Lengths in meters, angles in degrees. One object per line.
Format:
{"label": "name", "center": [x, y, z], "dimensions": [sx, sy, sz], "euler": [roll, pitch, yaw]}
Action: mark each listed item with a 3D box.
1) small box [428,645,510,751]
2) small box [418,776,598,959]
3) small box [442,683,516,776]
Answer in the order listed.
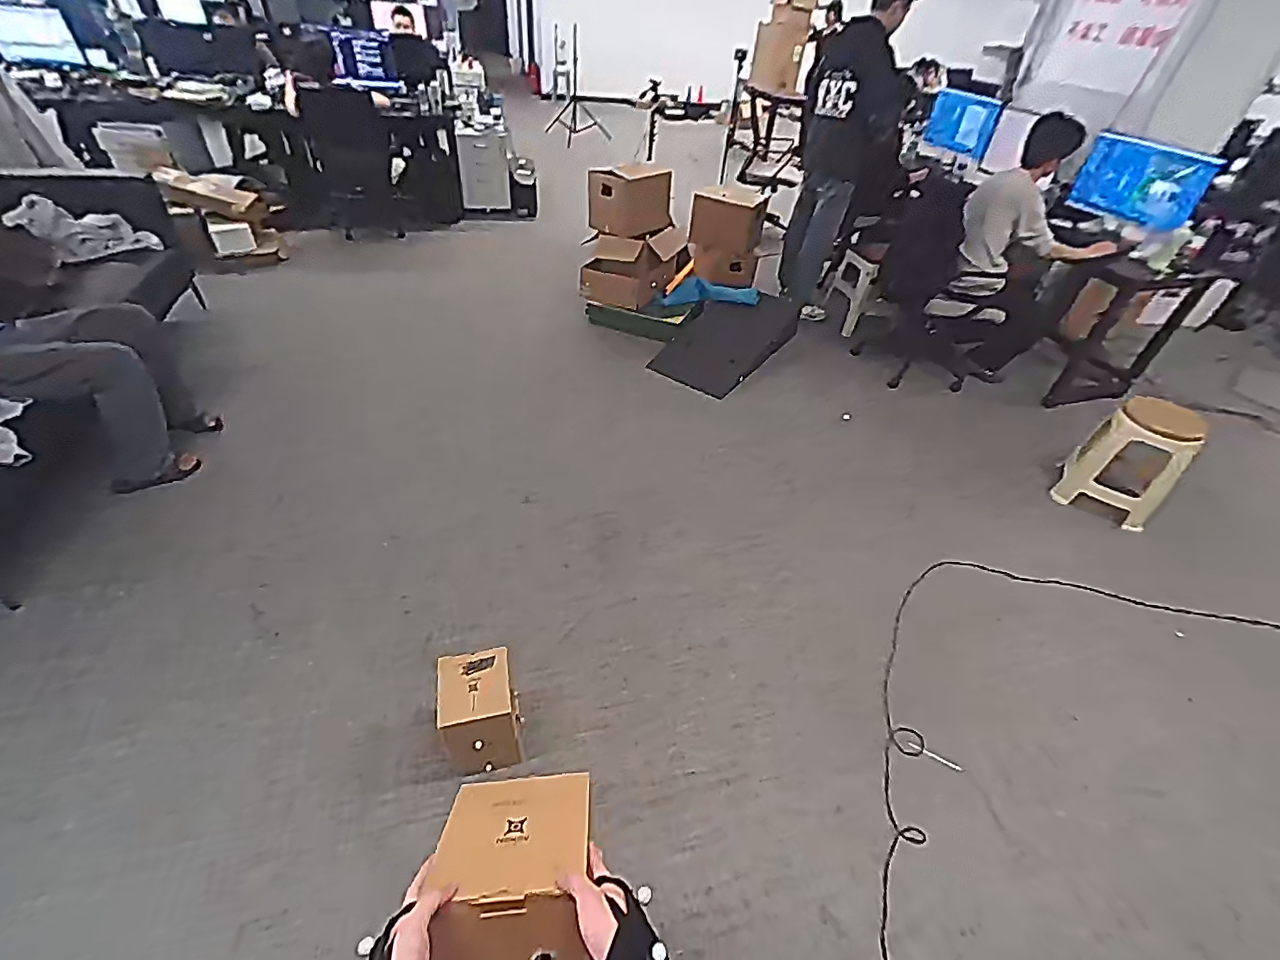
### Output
{"label": "small box", "center": [-0.414, 0.535, 1.329], "dimensions": [0.168, 0.176, 0.179], "euler": [-6, 43, -11]}
{"label": "small box", "center": [-0.134, 0.476, 0.613], "dimensions": [0.168, 0.176, 0.179], "euler": [-3, 6, -5]}
{"label": "small box", "center": [-0.432, 0.668, 1.458], "dimensions": [0.179, 0.176, 0.168], "euler": [-8, 45, -15]}
